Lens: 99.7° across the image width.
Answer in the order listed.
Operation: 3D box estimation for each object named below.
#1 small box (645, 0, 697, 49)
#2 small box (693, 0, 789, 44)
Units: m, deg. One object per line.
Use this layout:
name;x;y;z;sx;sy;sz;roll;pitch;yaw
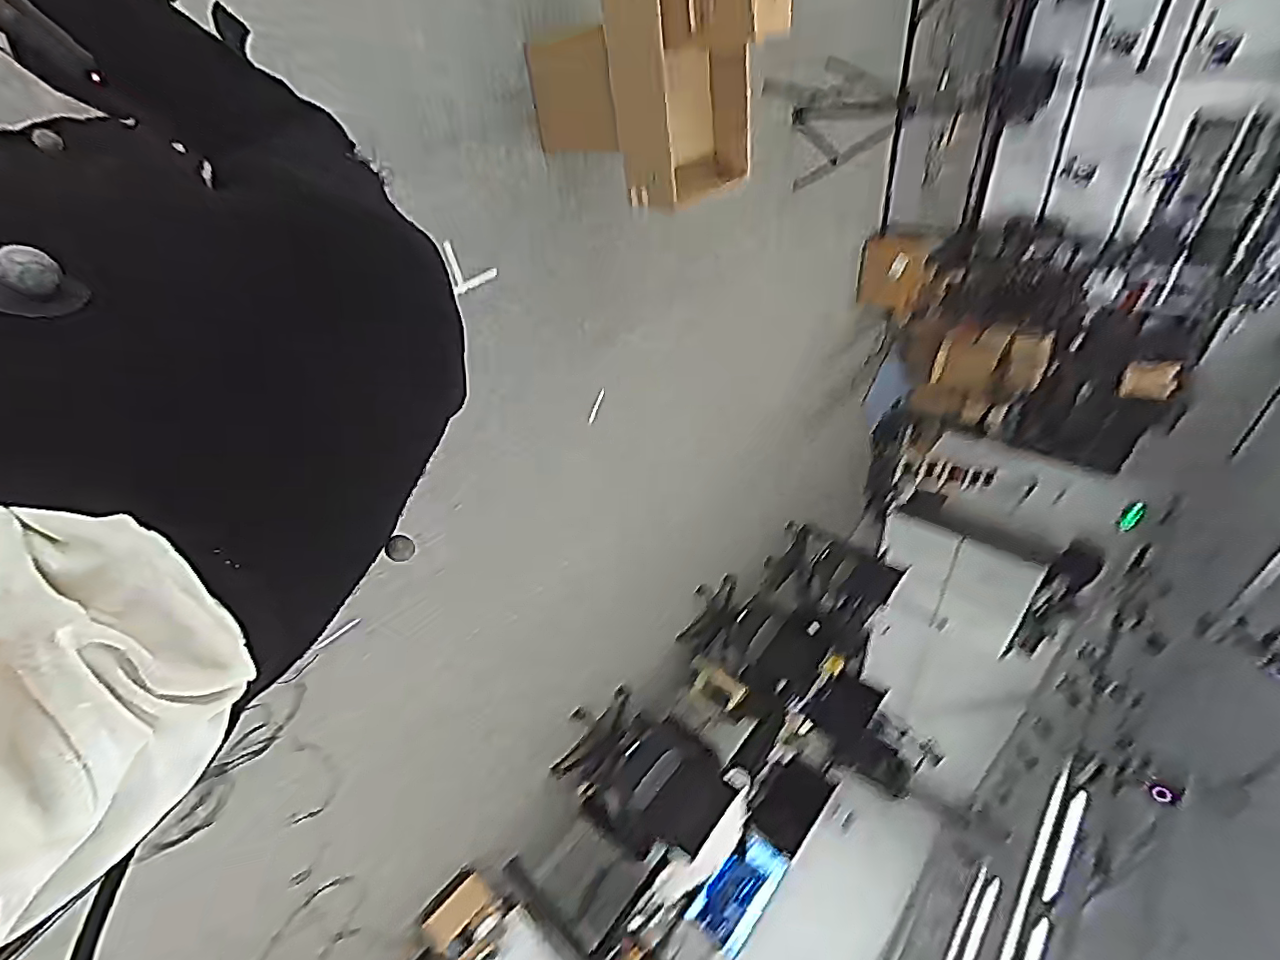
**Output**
small box;0.125;-1.247;1.409;0.179;0.176;0.168;-41;137;-32
small box;0.245;-1.186;1.314;0.179;0.176;0.168;-41;137;-30
